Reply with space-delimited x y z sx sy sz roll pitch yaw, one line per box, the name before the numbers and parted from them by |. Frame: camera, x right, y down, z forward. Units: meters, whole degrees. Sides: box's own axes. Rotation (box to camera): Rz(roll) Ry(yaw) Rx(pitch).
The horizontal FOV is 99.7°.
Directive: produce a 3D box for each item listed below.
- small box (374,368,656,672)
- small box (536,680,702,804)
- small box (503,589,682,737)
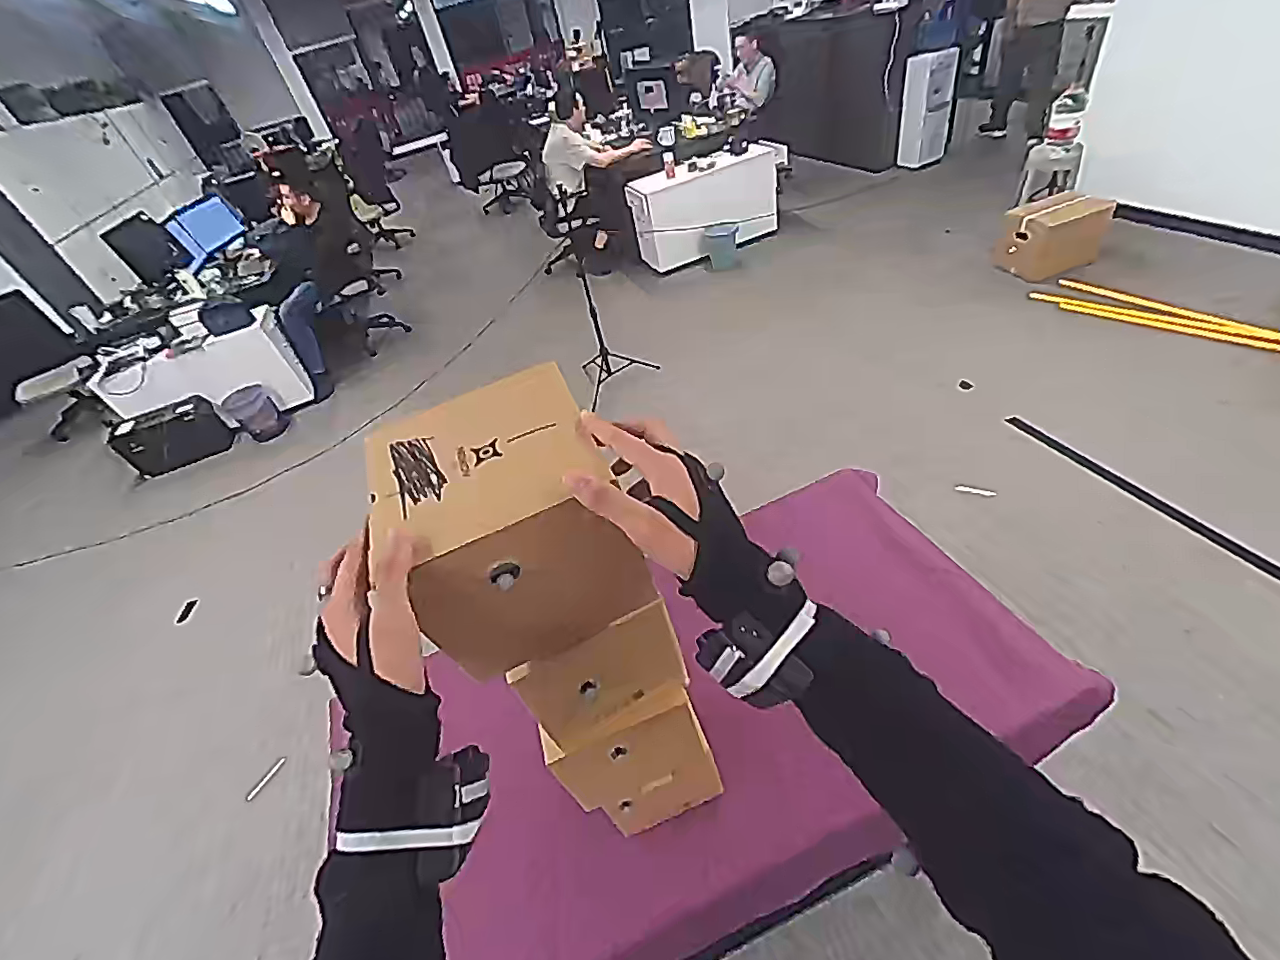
small box | -0.105 0.038 0.476 0.179 0.176 0.168 -24 47 -6
small box | -0.033 0.296 0.722 0.179 0.176 0.168 -21 42 -6
small box | -0.068 0.167 0.628 0.168 0.176 0.179 -27 41 -11
